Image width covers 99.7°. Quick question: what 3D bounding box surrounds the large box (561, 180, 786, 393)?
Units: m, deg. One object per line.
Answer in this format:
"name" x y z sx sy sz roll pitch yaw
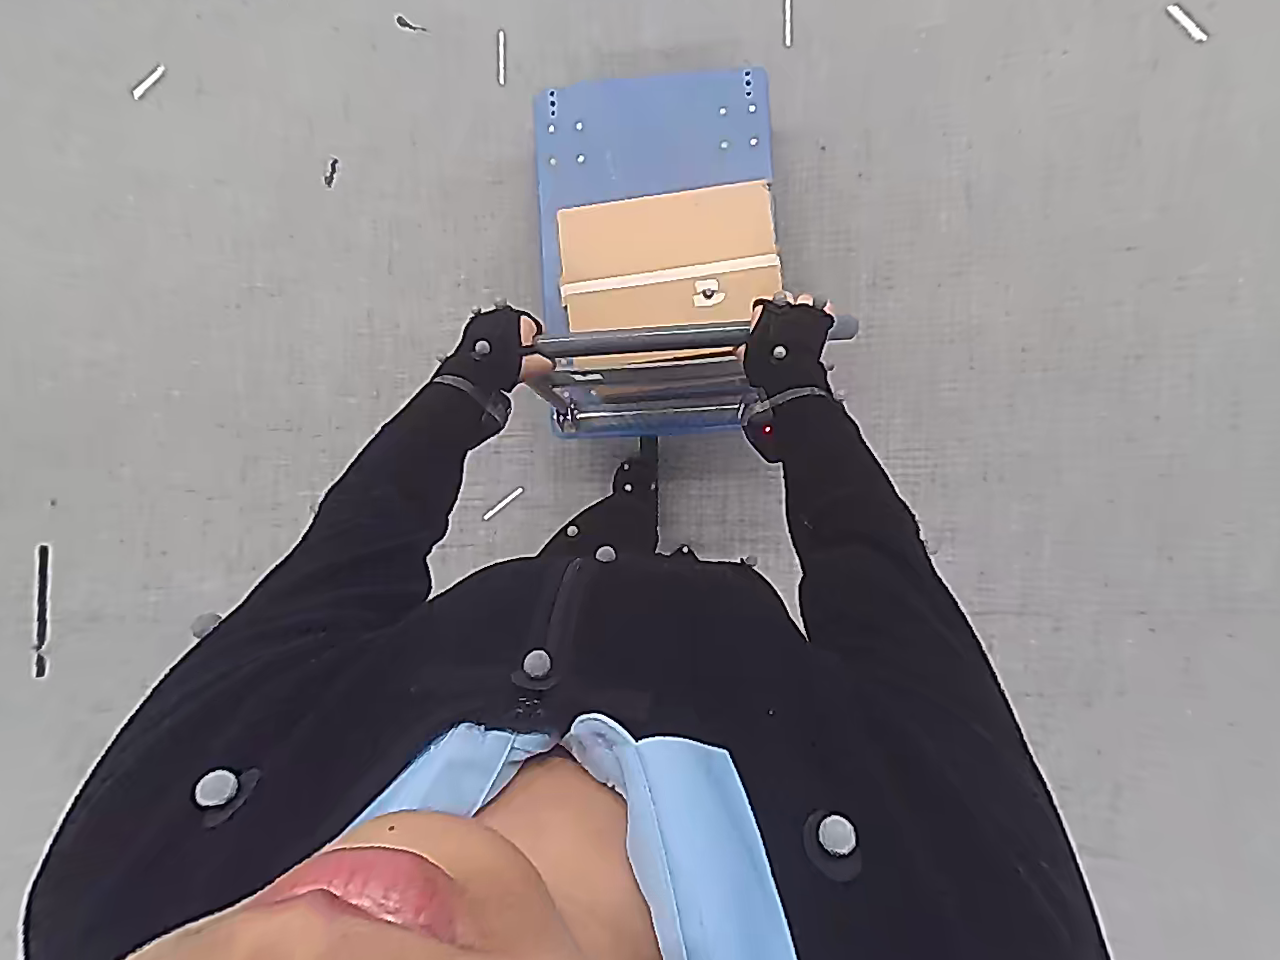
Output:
"large box" 0.068 -0.390 1.180 0.408 0.320 0.320 -7 90 3
